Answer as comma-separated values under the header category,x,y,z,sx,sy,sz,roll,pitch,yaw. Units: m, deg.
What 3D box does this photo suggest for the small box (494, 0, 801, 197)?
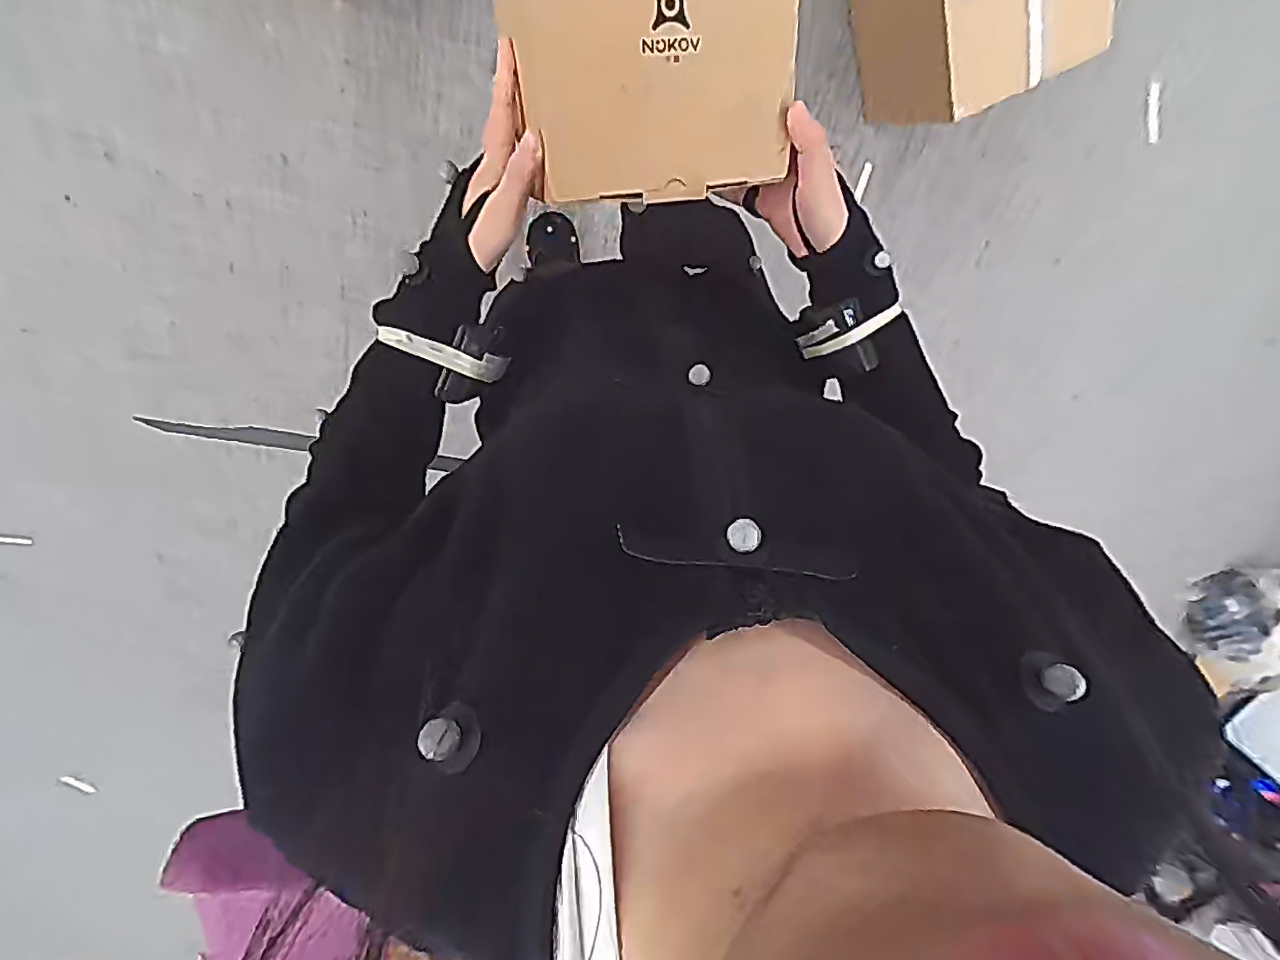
category,x,y,z,sx,sy,sz,roll,pitch,yaw
small box,-0.006,-0.307,0.374,0.168,0.176,0.179,-14,123,-13

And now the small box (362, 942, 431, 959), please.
category,x,y,z,sx,sy,sz,roll,pitch,yaw
small box,-0.620,1.291,1.341,0.168,0.176,0.179,8,118,-17
